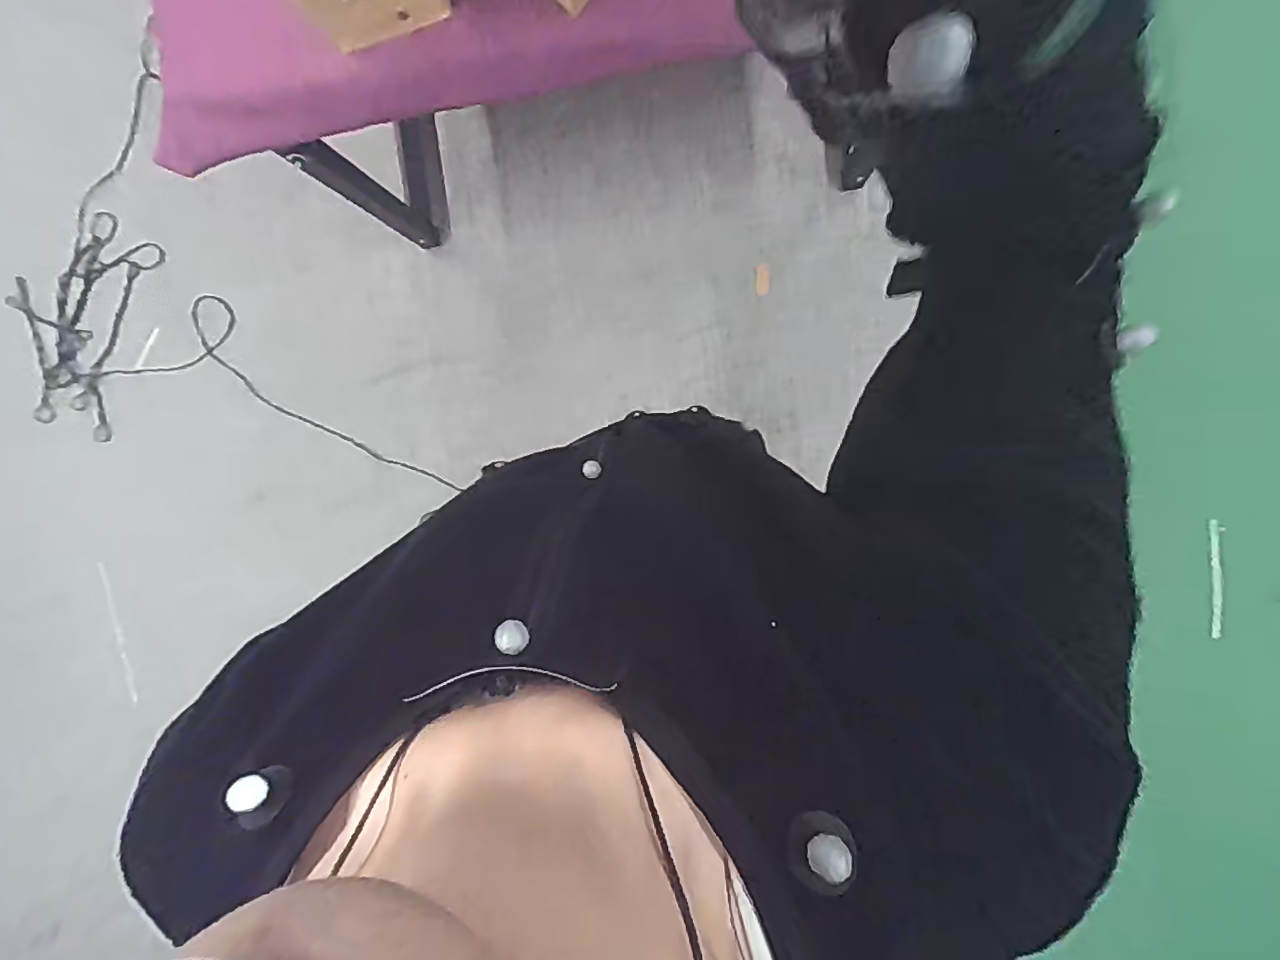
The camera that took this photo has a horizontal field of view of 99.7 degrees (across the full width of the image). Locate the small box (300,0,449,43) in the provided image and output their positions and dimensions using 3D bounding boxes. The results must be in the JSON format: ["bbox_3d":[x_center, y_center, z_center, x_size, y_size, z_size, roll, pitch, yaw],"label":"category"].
[{"bbox_3d":[-0.358,-0.686,0.660,0.168,0.176,0.179,-13,93,6],"label":"small box"}]
